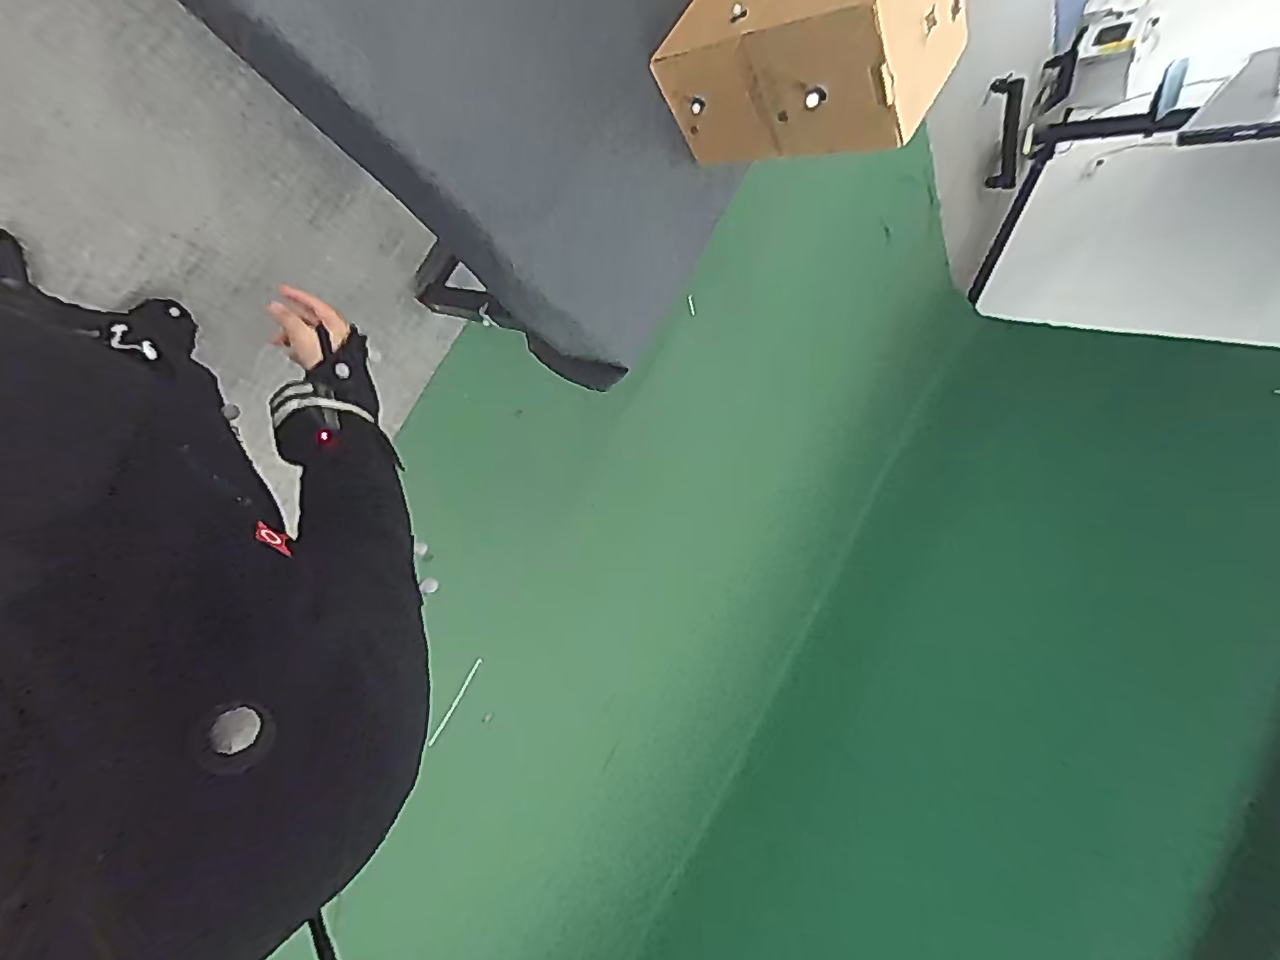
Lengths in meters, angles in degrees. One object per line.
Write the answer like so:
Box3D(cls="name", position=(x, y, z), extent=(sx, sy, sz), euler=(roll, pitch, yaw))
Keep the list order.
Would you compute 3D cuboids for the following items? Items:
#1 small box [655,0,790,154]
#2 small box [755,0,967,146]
Box3D(cls="small box", position=(0.153, -0.593, 0.759), extent=(0.179, 0.176, 0.168), euler=(-57, 139, -7))
Box3D(cls="small box", position=(0.259, -0.534, 0.649), extent=(0.179, 0.176, 0.168), euler=(-56, 139, -6))
